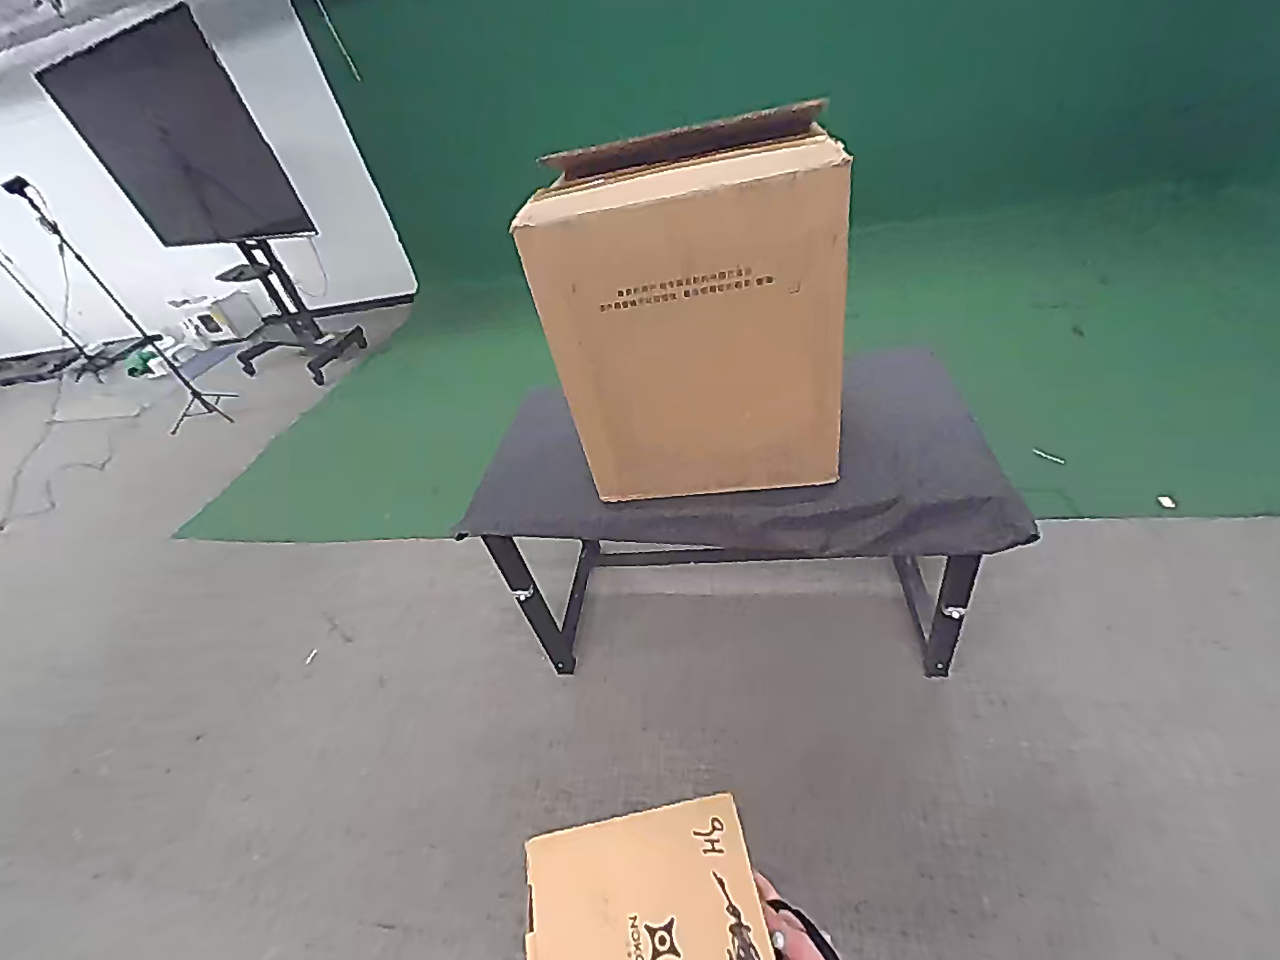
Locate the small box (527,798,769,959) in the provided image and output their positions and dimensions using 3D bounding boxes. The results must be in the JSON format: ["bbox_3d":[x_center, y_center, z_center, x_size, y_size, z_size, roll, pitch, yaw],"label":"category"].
[{"bbox_3d":[0.008,0.393,0.465,0.179,0.176,0.168,-9,53,-5],"label":"small box"}]
